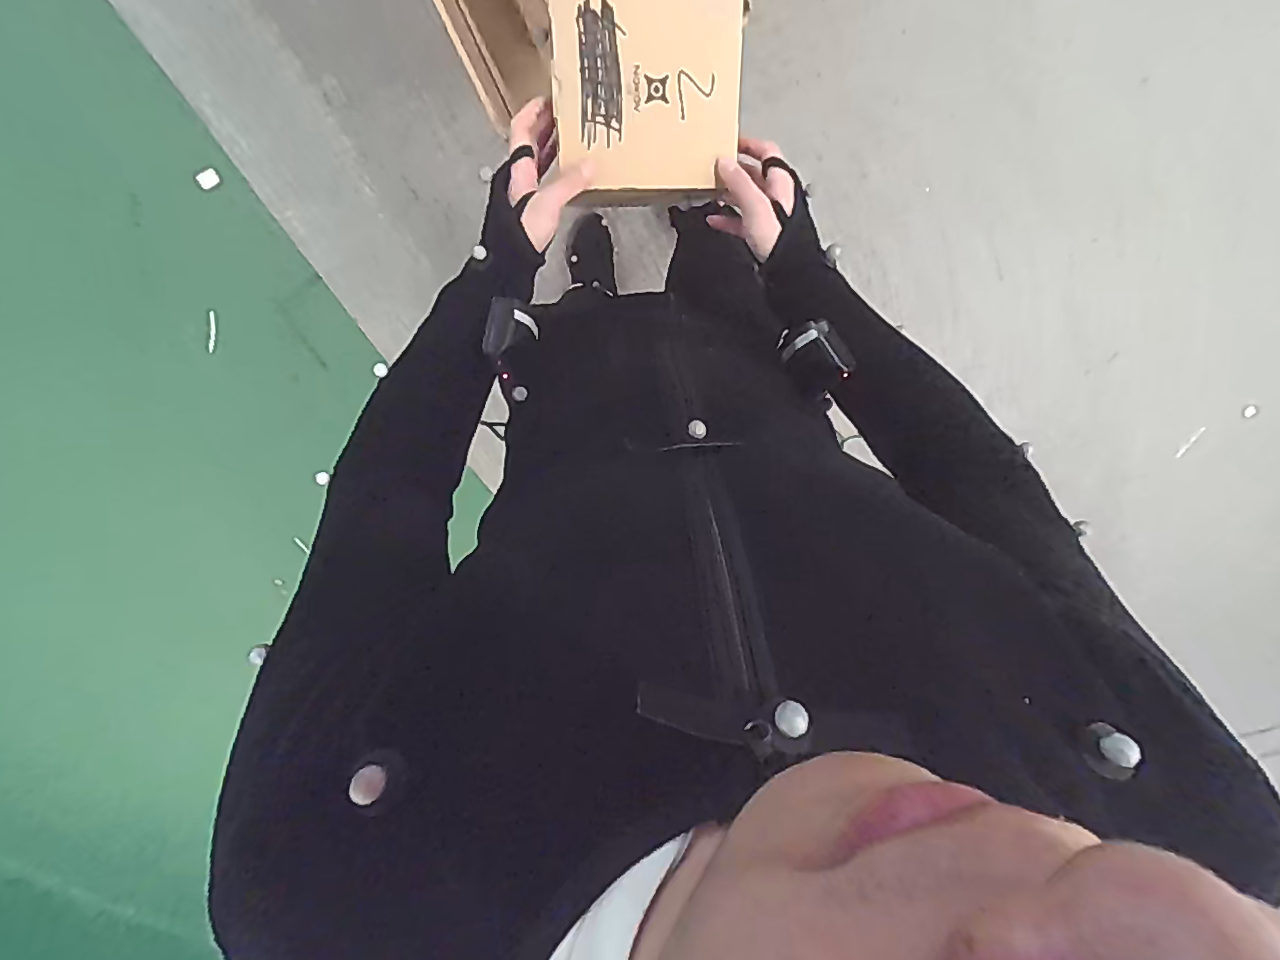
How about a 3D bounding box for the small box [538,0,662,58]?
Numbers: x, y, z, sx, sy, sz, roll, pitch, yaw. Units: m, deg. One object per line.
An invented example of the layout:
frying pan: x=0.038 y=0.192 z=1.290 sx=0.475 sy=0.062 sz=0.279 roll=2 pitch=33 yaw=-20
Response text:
small box: x=-0.066 y=-0.716 z=0.733 sx=0.179 sy=0.176 sz=0.168 roll=-24 pitch=120 yaw=8
